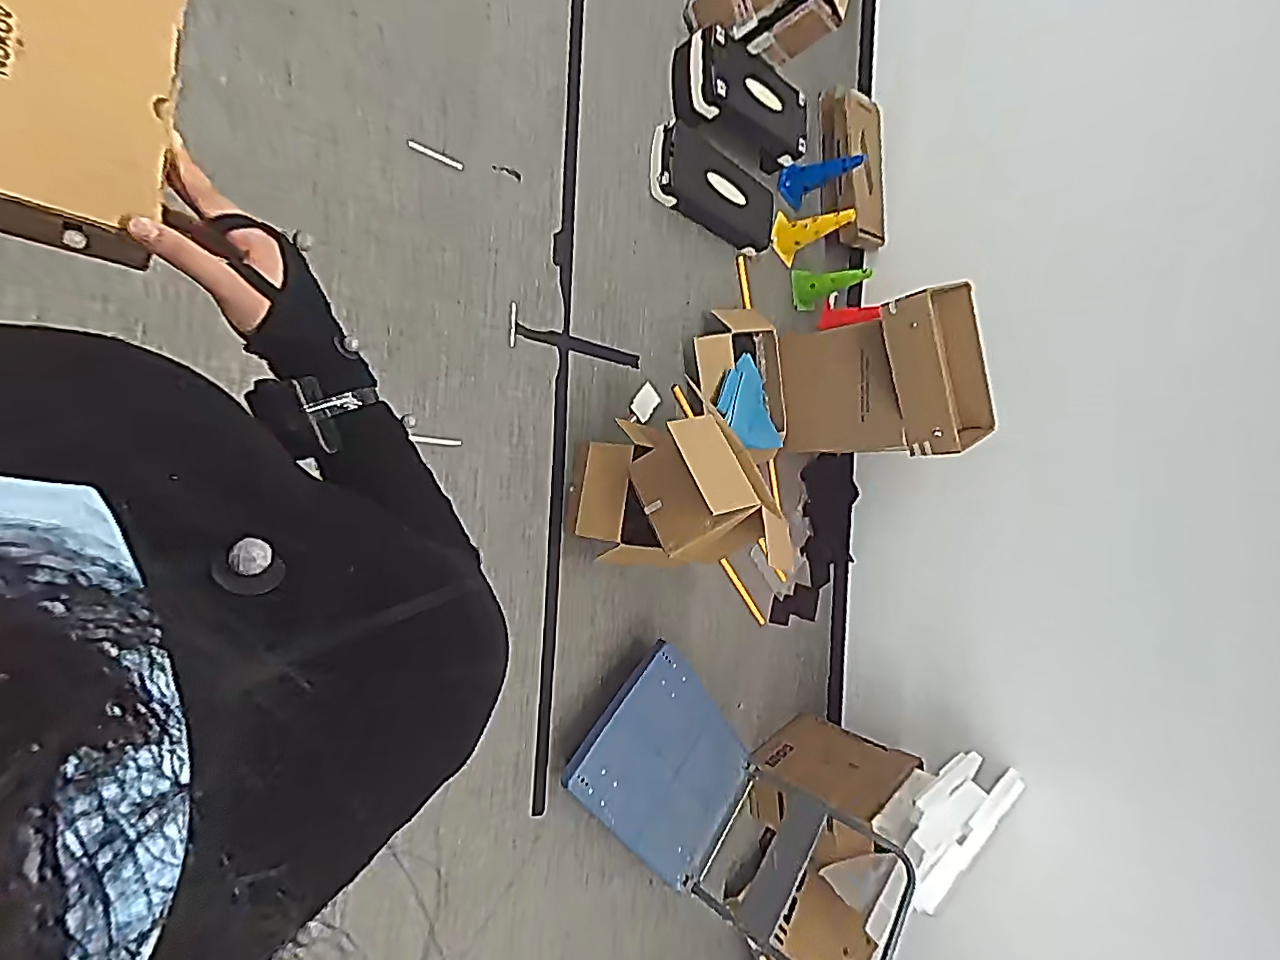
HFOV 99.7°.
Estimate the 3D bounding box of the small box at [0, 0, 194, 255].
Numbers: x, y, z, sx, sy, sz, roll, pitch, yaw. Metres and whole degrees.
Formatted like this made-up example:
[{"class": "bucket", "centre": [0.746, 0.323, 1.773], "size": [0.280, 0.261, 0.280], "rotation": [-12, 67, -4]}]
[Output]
[{"class": "small box", "centre": [-0.415, -0.260, 0.345], "size": [0.179, 0.176, 0.168], "rotation": [6, 94, -46]}]
